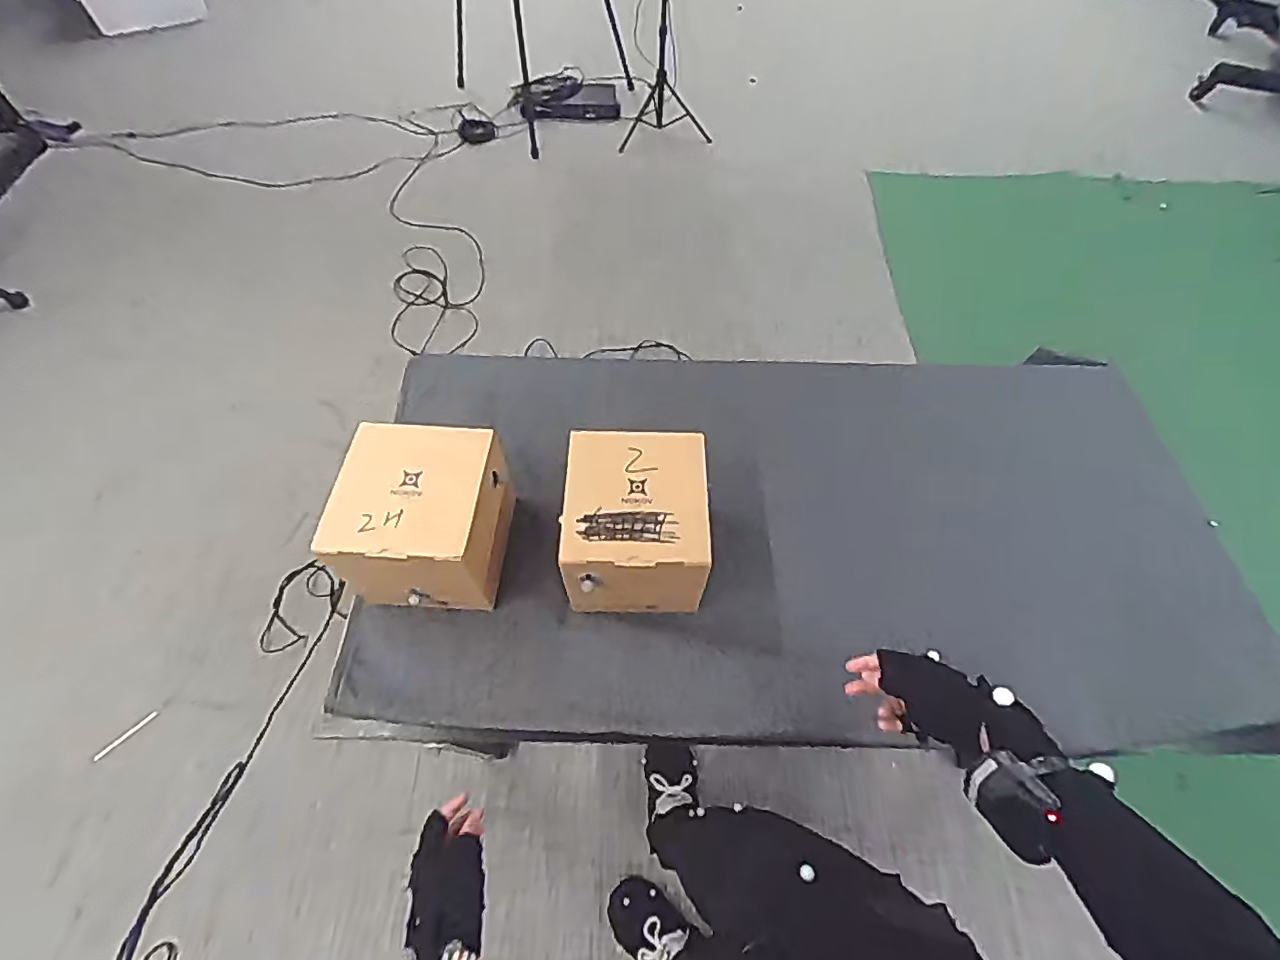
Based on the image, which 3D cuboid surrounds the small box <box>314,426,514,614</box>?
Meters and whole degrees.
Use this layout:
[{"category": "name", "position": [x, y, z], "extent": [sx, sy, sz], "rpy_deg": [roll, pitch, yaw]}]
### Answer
[{"category": "small box", "position": [-0.264, 0.054, 0.686], "extent": [0.168, 0.176, 0.179], "rpy_deg": [3, 58, 1]}]
